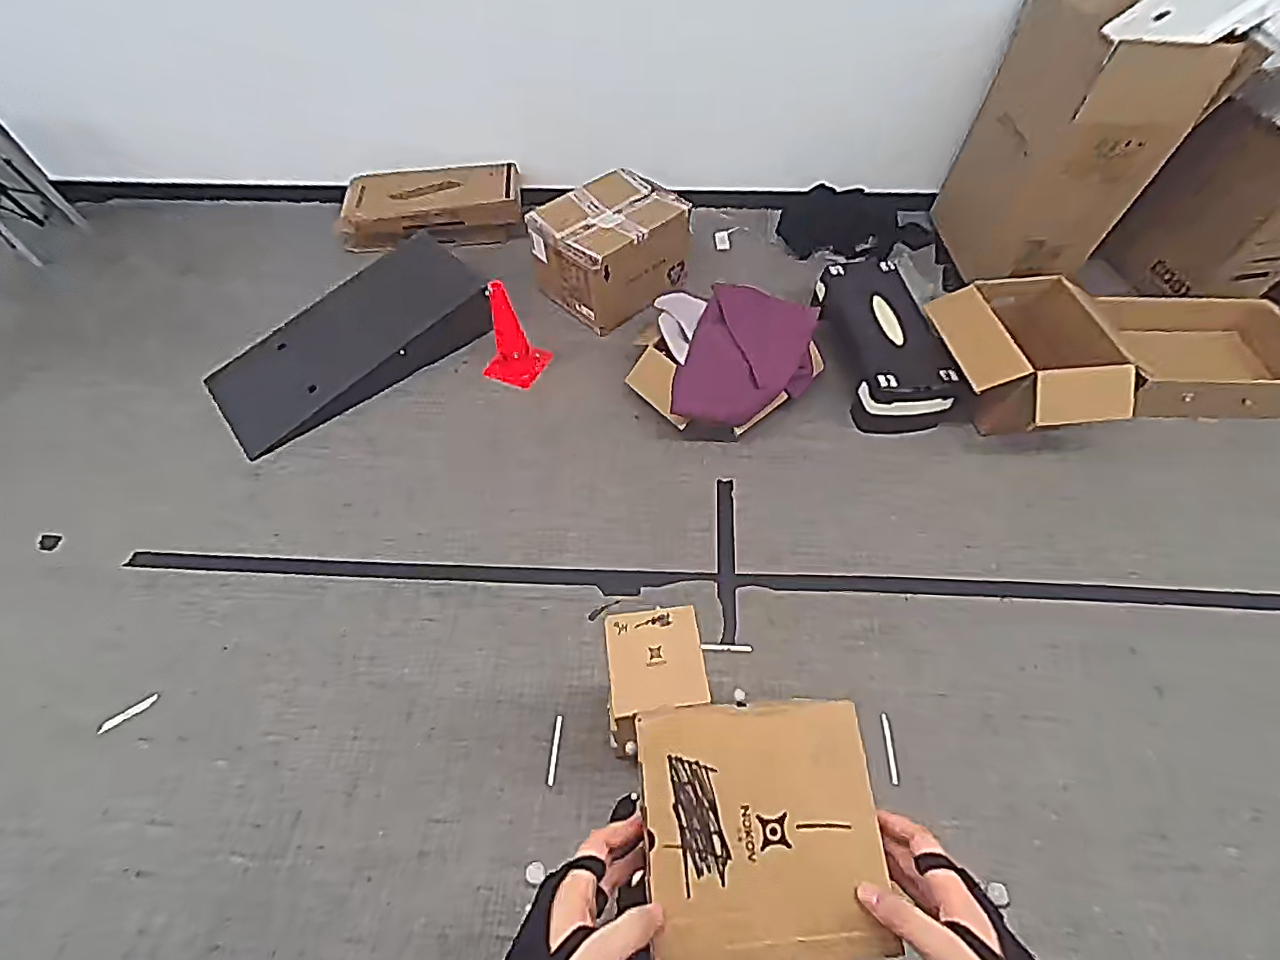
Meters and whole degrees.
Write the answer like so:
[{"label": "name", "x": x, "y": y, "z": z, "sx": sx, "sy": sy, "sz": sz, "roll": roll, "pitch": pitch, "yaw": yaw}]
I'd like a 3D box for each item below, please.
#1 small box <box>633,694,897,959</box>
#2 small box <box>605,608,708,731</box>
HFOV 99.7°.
[{"label": "small box", "x": 0.088, "y": 0.282, "z": 0.474, "sx": 0.179, "sy": 0.176, "sz": 0.168, "roll": -4, "pitch": 69, "yaw": -2}, {"label": "small box", "x": 0.030, "y": 0.356, "z": 0.996, "sx": 0.168, "sy": 0.176, "sz": 0.179, "roll": -7, "pitch": 56, "yaw": -2}]
